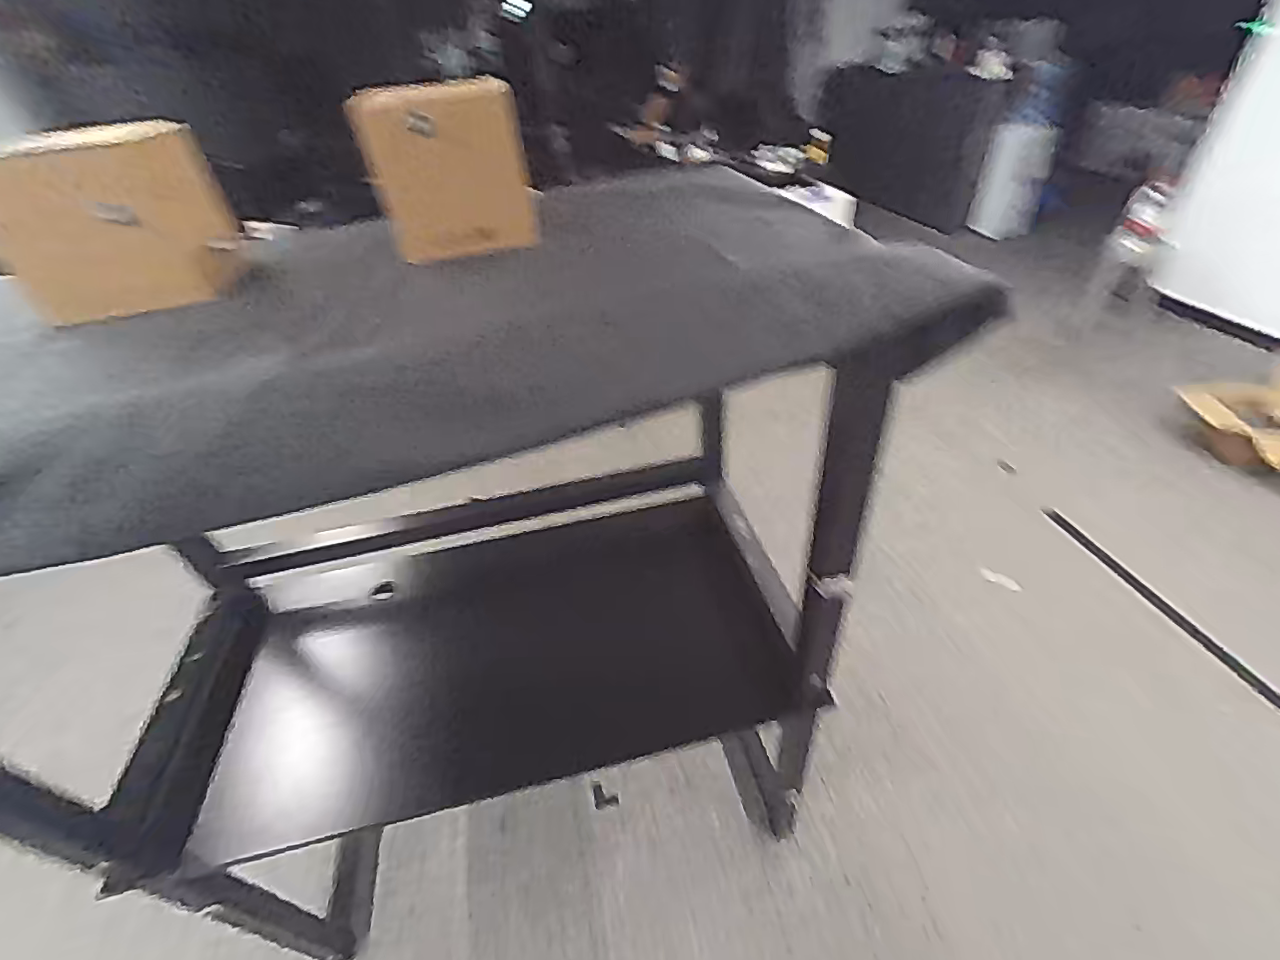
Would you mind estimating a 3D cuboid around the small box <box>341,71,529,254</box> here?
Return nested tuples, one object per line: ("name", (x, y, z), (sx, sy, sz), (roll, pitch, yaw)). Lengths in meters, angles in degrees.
("small box", (-0.242, -0.401, 0.682), (0.168, 0.176, 0.179), (-13, 40, -7))
